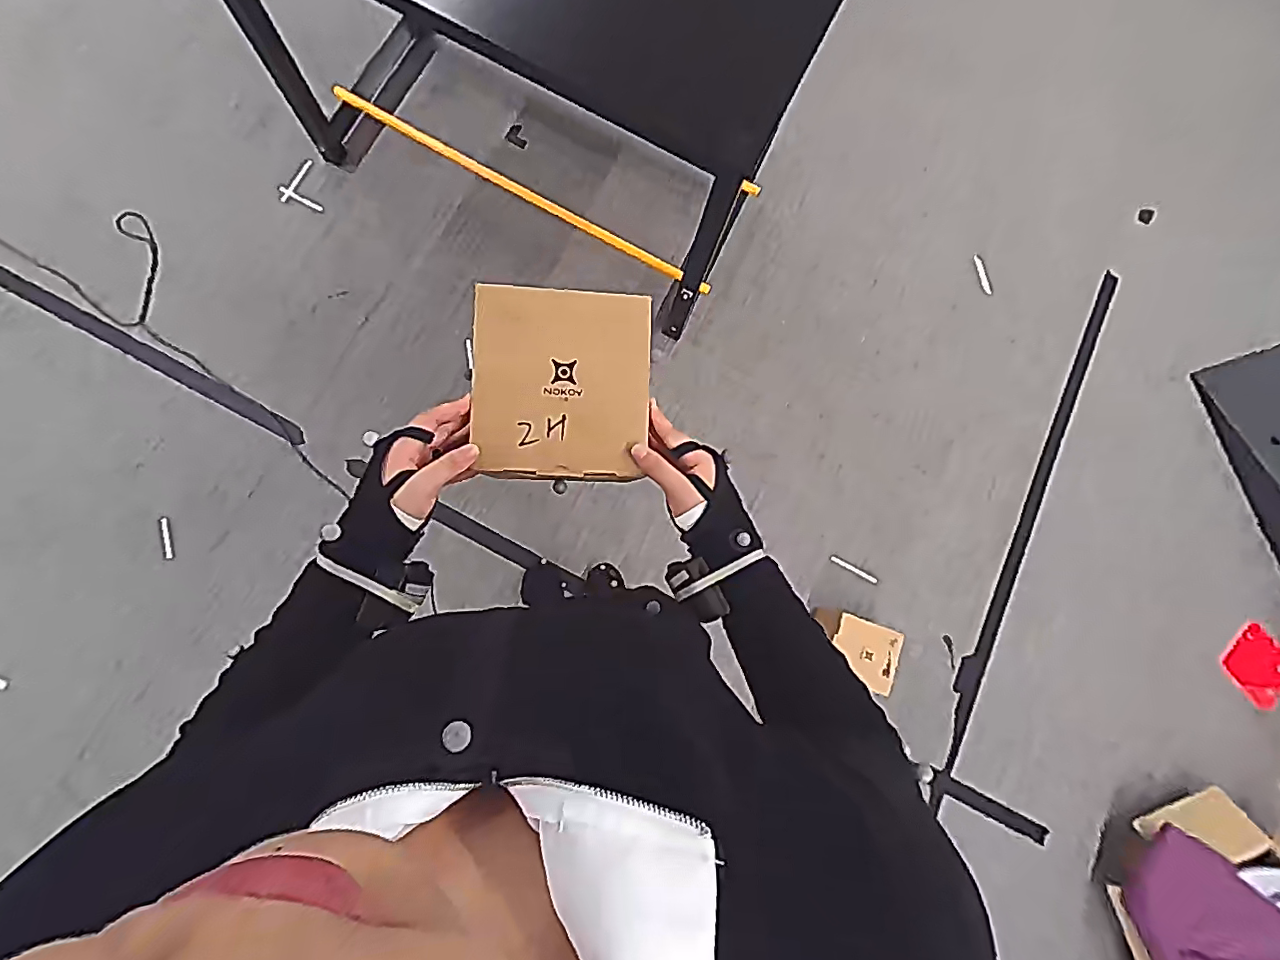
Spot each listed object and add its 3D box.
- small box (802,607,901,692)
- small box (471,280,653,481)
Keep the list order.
[{"bbox_3d":[0.564,0.452,1.468,0.179,0.176,0.168,21,79,-2],"label":"small box"},{"bbox_3d":[-0.082,-0.092,0.583,0.168,0.176,0.179,1,88,-7],"label":"small box"}]
